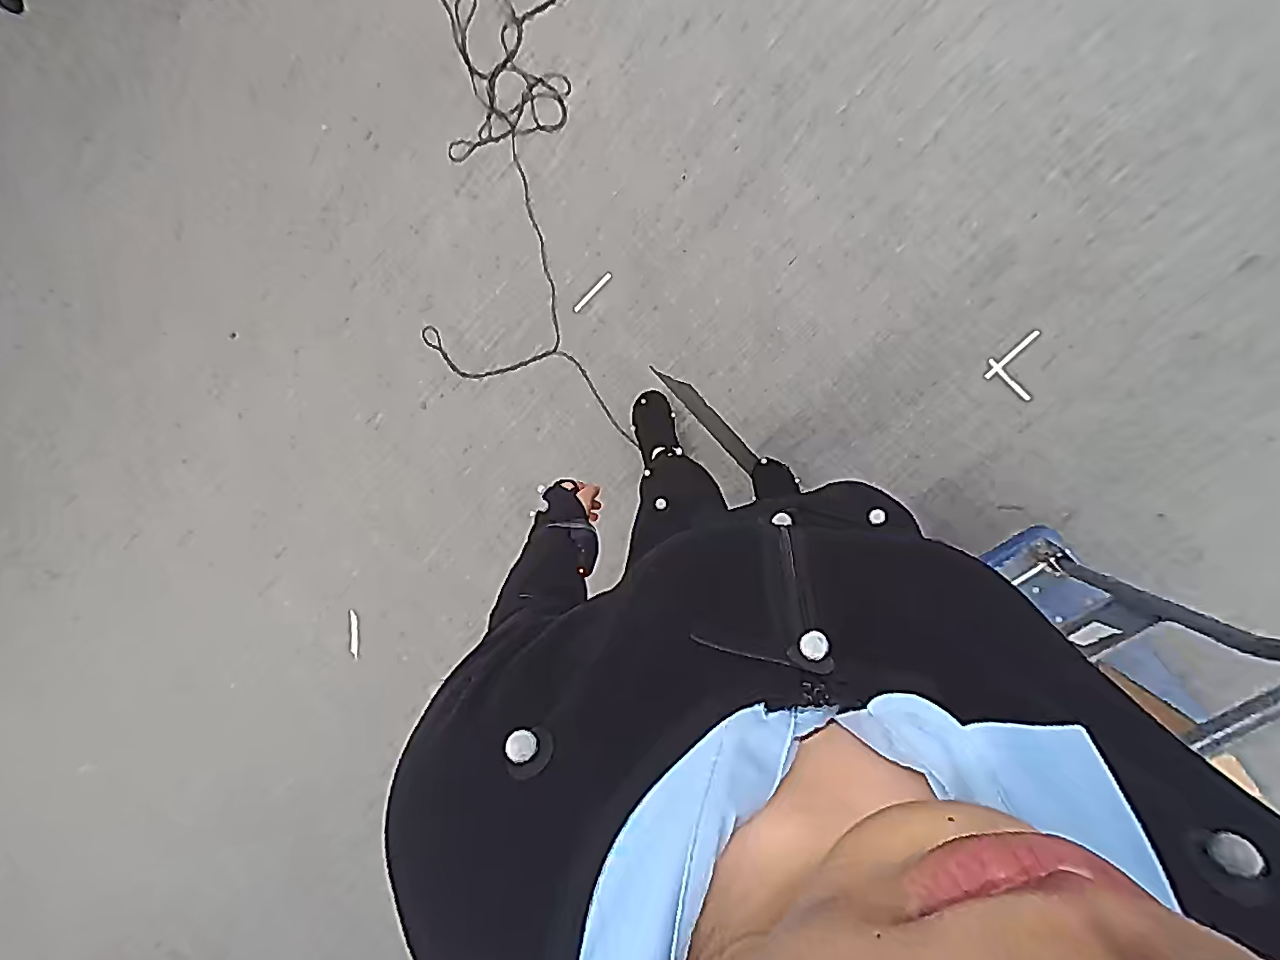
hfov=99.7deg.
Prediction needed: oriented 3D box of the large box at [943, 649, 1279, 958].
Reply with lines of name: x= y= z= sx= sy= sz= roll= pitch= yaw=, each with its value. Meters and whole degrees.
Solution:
large box: x=0.931 y=0.623 z=1.100 sx=0.408 sy=0.320 sz=0.320 roll=-38 pitch=88 yaw=11
